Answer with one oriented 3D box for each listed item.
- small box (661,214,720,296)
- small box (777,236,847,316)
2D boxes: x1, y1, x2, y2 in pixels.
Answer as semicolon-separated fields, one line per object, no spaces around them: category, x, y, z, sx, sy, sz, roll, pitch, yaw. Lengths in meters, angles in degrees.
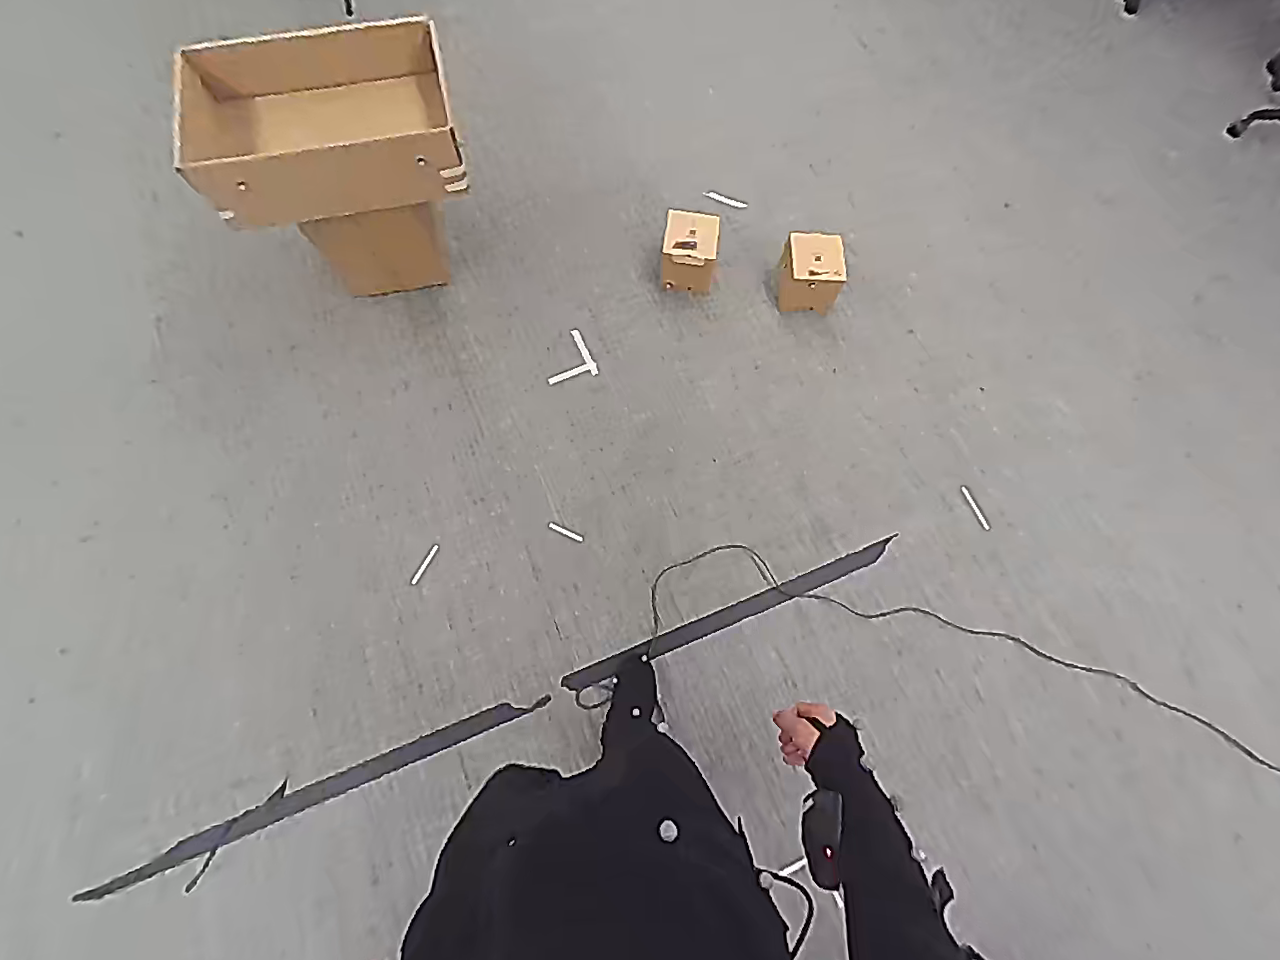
small box;0.161;-0.727;1.761;0.168;0.176;0.179;8;72;0
small box;0.551;-0.659;1.754;0.168;0.176;0.179;2;71;-1
